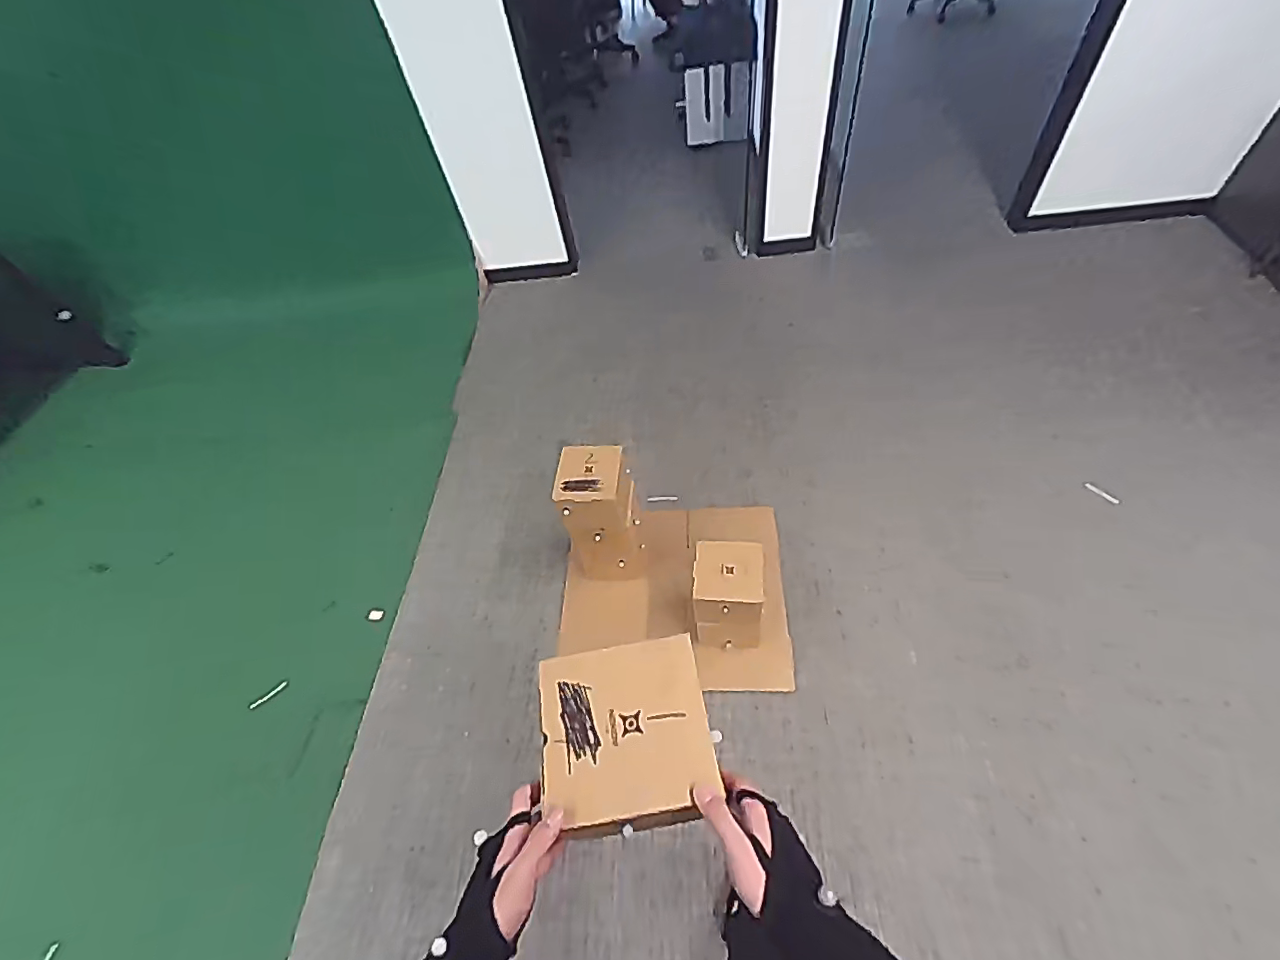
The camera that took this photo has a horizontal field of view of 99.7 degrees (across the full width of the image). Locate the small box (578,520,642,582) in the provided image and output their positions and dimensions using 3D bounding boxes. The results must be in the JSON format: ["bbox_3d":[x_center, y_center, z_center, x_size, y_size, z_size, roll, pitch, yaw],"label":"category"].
[{"bbox_3d":[-0.088,0.218,1.727,0.179,0.176,0.168,-1,54,8],"label":"small box"}]

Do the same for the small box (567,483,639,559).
[{"bbox_3d":[-0.101,0.124,1.596,0.179,0.176,0.168,-1,55,8],"label":"small box"}]

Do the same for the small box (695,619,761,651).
[{"bbox_3d":[0.251,0.385,1.557,0.179,0.176,0.168,0,54,9],"label":"small box"}]

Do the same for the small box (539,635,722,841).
[{"bbox_3d":[-0.009,0.299,0.618,0.179,0.176,0.168,-10,53,-1],"label":"small box"}]

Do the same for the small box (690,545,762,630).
[{"bbox_3d":[0.230,0.287,1.428,0.179,0.176,0.168,2,55,10],"label":"small box"}]
